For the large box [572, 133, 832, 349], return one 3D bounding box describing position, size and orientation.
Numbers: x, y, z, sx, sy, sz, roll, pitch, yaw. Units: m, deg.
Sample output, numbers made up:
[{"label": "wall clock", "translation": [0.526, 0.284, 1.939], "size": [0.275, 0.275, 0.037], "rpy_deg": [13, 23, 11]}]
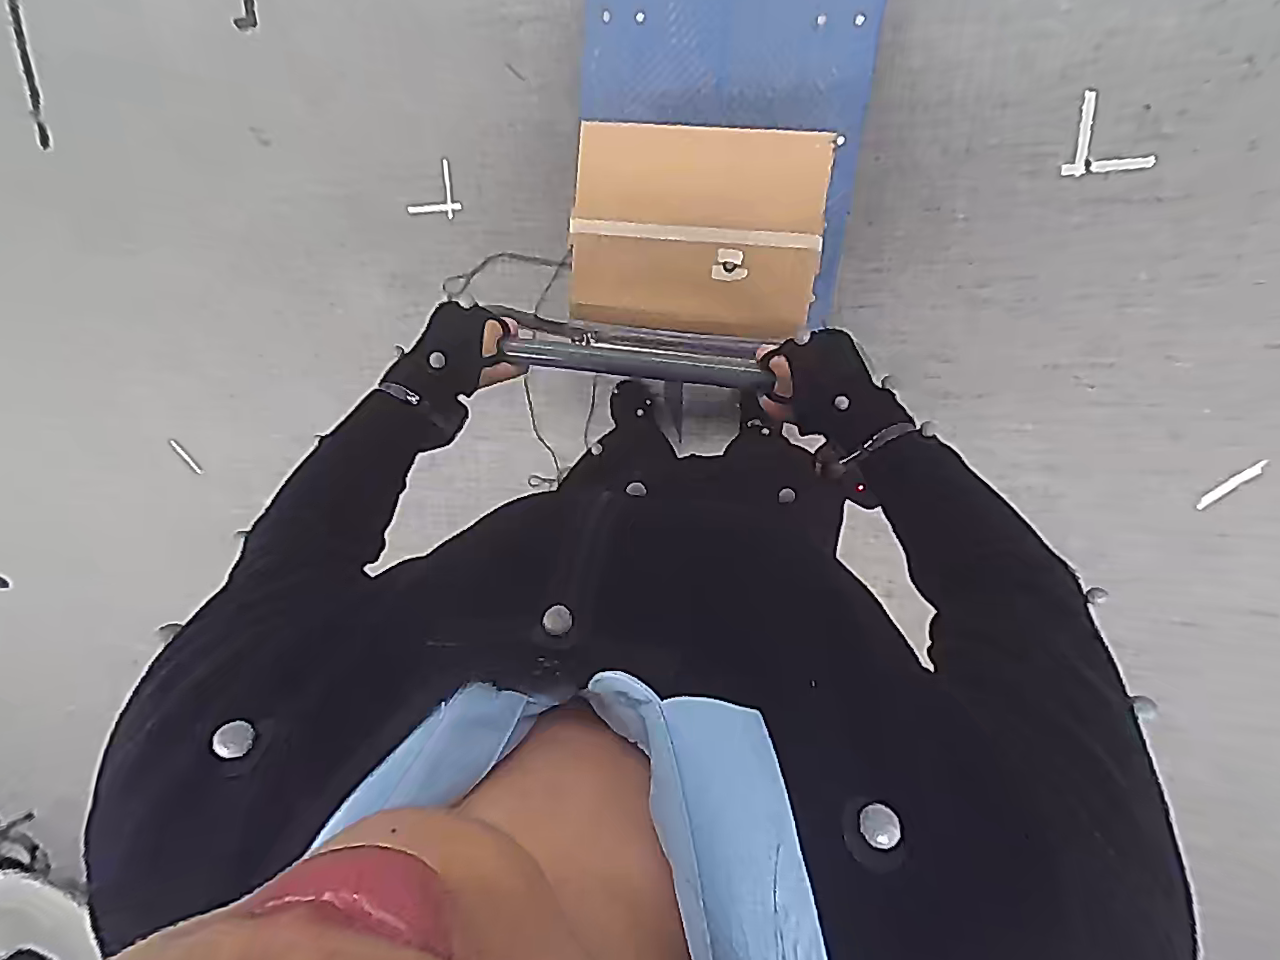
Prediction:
[{"label": "large box", "translation": [0.108, -0.425, 1.030], "size": [0.408, 0.320, 0.320], "rpy_deg": [8, 105, 7]}]
